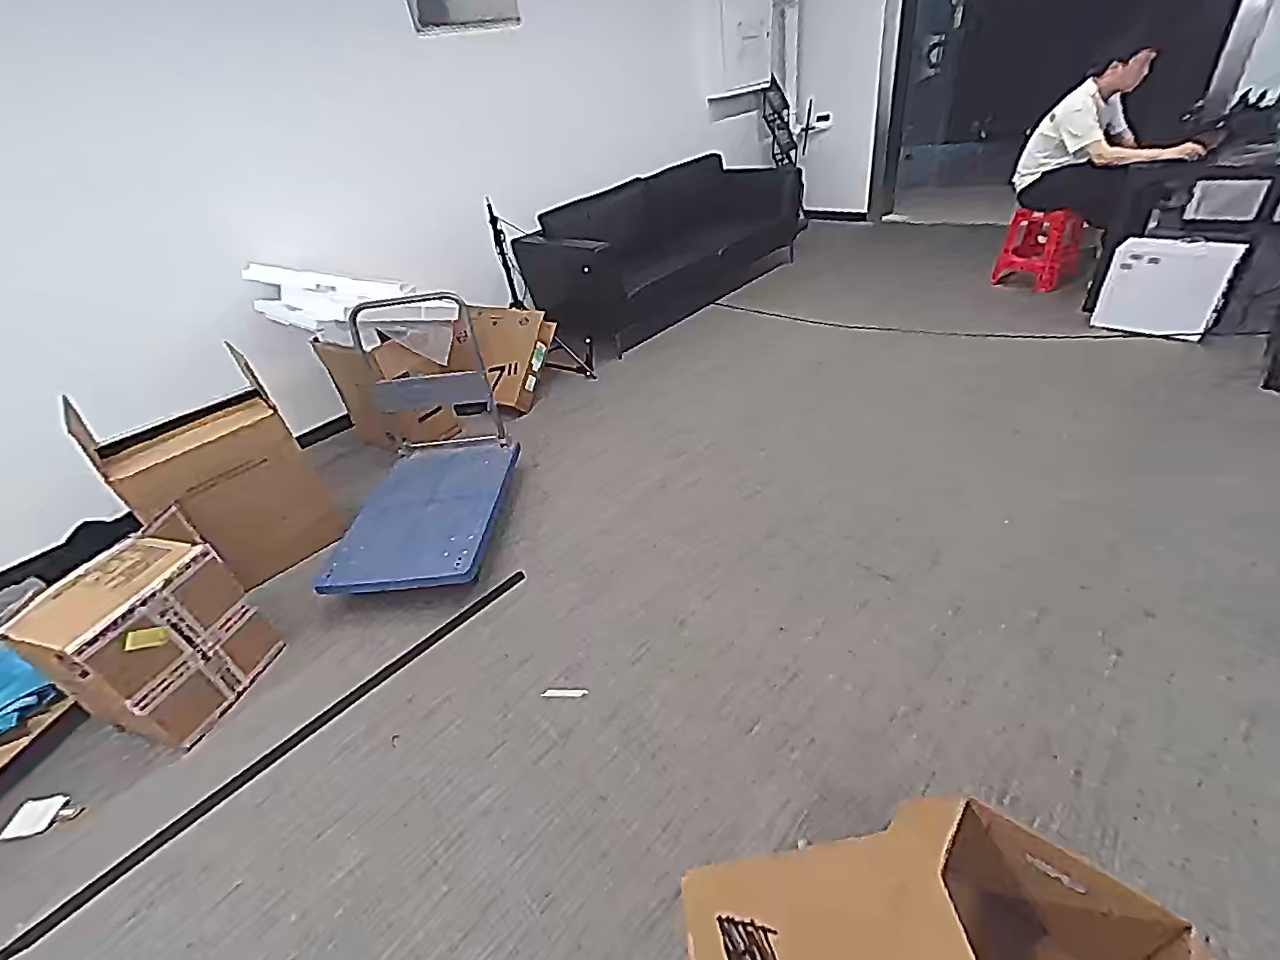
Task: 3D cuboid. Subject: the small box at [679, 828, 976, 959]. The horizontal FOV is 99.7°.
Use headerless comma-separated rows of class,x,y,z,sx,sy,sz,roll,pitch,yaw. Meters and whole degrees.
small box,0.139,0.371,0.385,0.179,0.176,0.168,-14,48,4
